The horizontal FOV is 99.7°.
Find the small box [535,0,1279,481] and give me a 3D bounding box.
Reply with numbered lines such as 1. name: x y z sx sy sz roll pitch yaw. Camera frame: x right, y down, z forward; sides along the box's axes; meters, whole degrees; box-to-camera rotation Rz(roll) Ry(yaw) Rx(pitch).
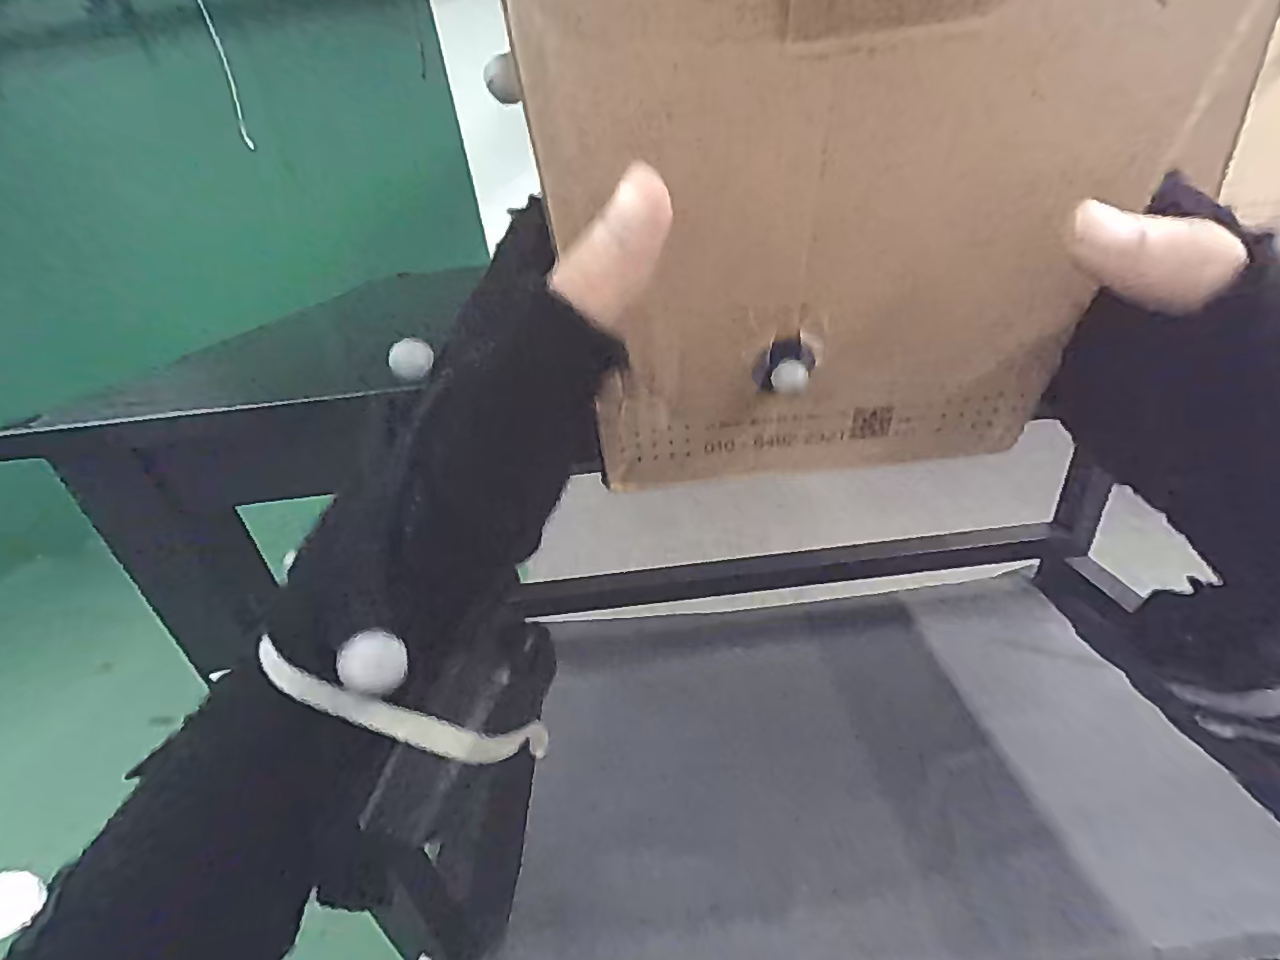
1. small box: 0.059 -0.122 0.218 0.168 0.176 0.179 -6 48 2
